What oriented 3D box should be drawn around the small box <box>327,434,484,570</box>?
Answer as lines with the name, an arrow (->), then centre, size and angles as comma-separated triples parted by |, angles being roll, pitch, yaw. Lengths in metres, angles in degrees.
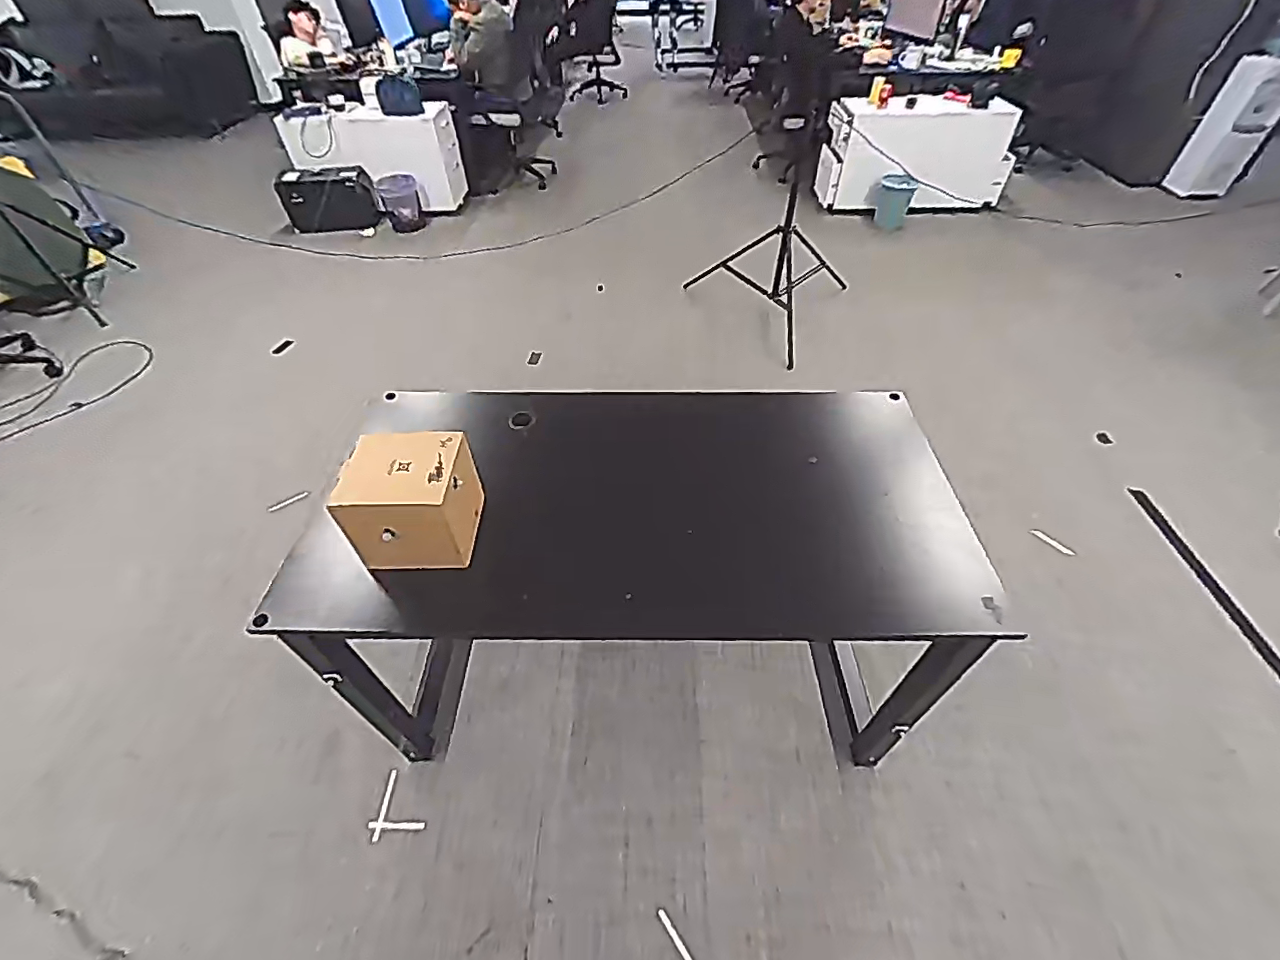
small box -> -0.383, 0.040, 0.919 | 0.179, 0.176, 0.168 | -2, 47, 0
